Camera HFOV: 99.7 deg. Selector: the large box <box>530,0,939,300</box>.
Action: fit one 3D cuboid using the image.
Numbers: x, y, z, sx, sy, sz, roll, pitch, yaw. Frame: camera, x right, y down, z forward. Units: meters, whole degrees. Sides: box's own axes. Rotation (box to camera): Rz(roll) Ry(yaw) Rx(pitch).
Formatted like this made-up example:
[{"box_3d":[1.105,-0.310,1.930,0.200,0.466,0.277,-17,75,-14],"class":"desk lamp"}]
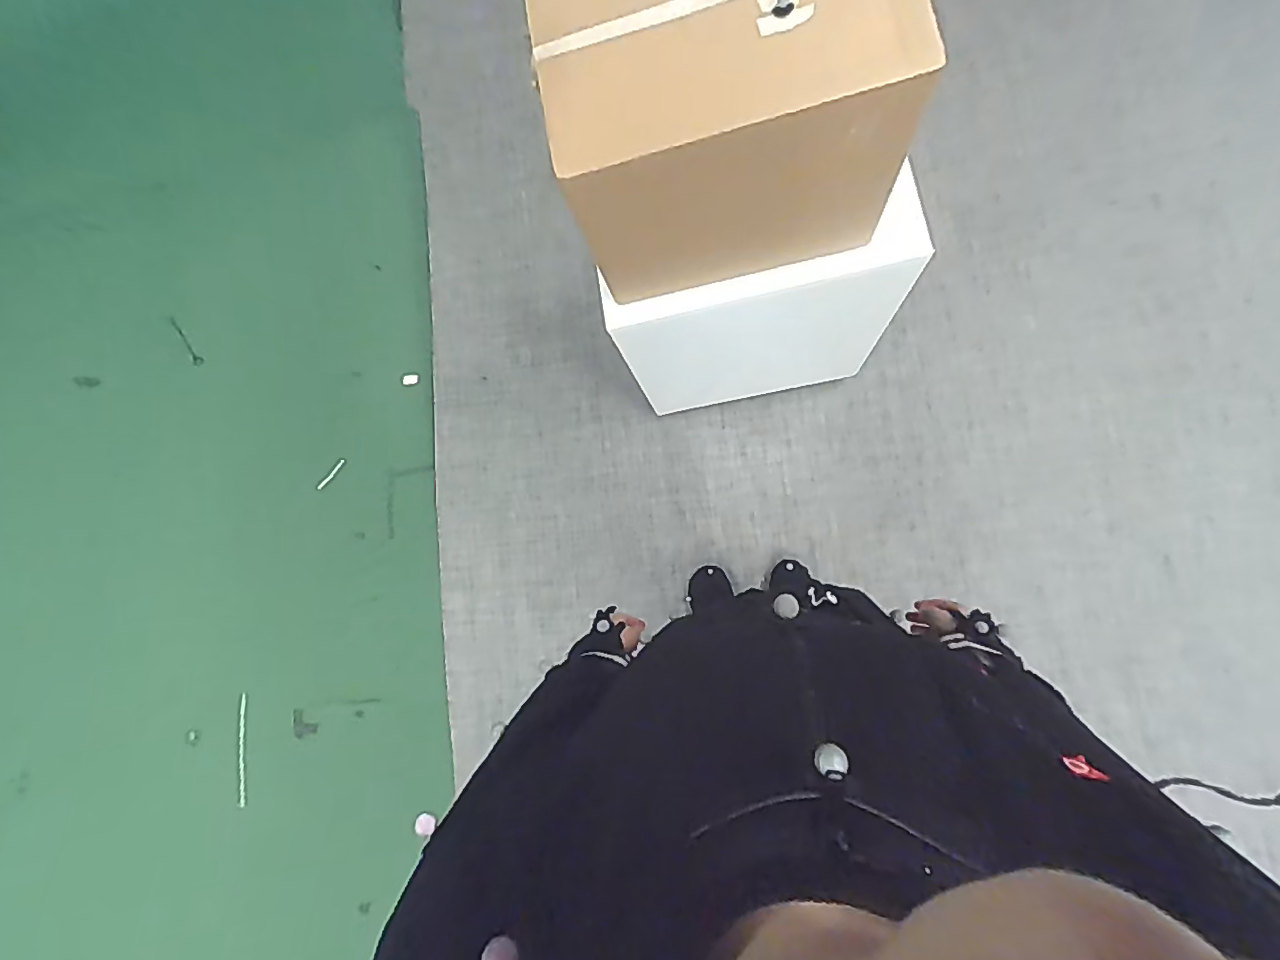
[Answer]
[{"box_3d":[0.102,-0.496,0.733,0.408,0.320,0.320,-11,81,7],"class":"large box"}]
